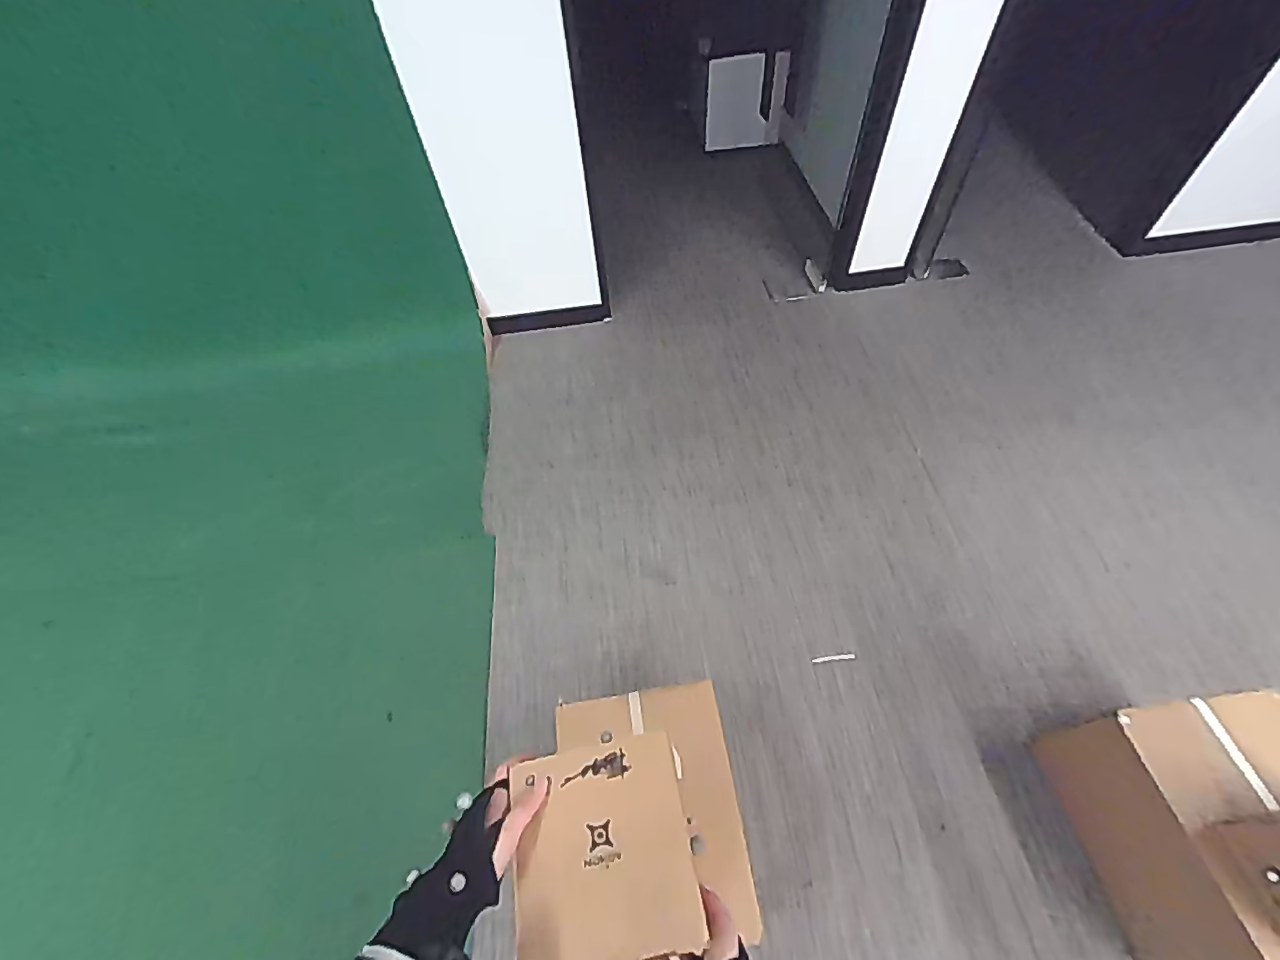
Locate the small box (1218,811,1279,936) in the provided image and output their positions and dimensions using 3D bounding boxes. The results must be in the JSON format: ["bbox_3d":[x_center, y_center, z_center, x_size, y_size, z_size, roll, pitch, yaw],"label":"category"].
[{"bbox_3d":[1.022,0.569,0.772,0.179,0.176,0.168,-10,55,-2],"label":"small box"}]

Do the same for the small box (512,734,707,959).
[{"bbox_3d":[-0.028,0.388,0.565,0.168,0.176,0.179,-11,54,-3],"label":"small box"}]

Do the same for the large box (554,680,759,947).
[{"bbox_3d":[0.021,0.664,1.070,0.320,0.320,0.408,-8,54,-2],"label":"large box"}]
